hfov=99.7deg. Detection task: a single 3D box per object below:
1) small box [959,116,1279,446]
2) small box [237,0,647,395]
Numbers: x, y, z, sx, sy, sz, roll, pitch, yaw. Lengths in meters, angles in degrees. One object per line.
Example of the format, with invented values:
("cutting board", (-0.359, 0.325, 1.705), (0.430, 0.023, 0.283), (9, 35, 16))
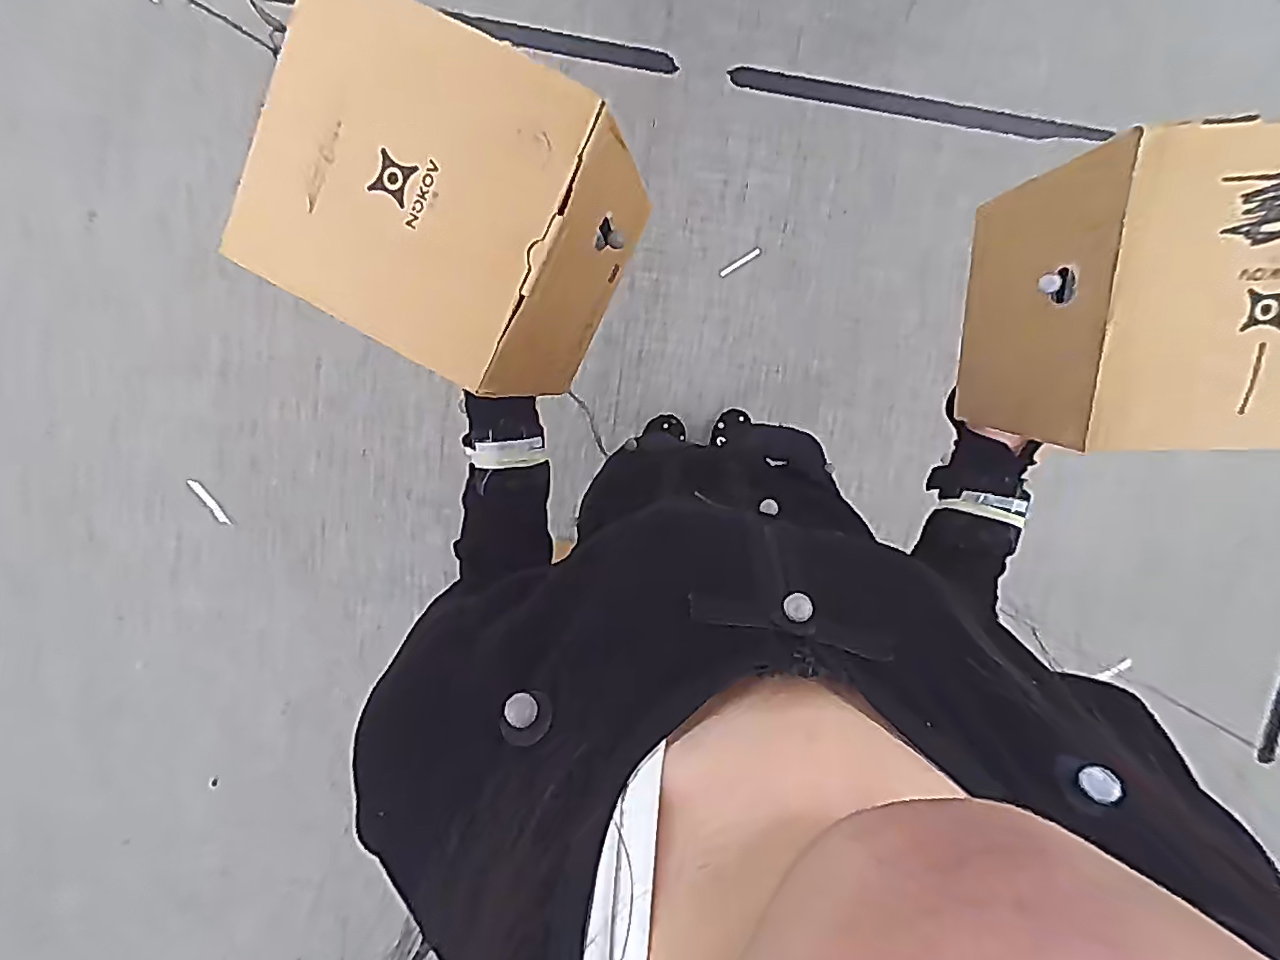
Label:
("small box", (0.350, -0.123, 0.376), (0.168, 0.176, 0.179), (-1, 104, 5))
("small box", (-0.110, -0.171, 0.369), (0.179, 0.176, 0.168), (28, 102, 4))
